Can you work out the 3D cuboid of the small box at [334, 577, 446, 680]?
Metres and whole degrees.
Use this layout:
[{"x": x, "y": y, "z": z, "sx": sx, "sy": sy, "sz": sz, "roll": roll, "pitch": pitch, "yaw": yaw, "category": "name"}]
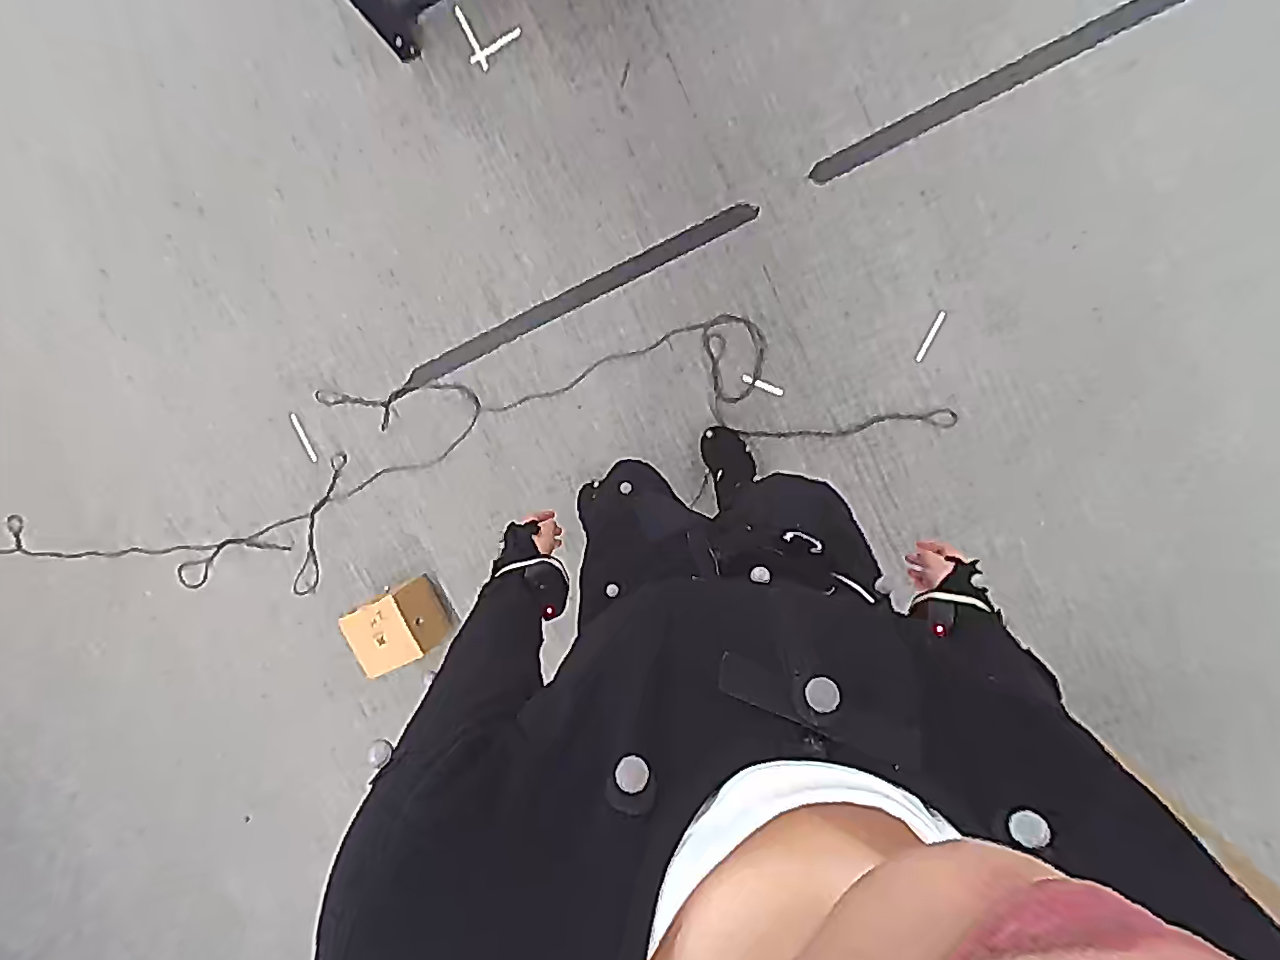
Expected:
[{"x": -0.637, "y": 0.379, "z": 1.404, "sx": 0.168, "sy": 0.176, "sz": 0.179, "roll": -25, "pitch": 95, "yaw": 8, "category": "small box"}]
